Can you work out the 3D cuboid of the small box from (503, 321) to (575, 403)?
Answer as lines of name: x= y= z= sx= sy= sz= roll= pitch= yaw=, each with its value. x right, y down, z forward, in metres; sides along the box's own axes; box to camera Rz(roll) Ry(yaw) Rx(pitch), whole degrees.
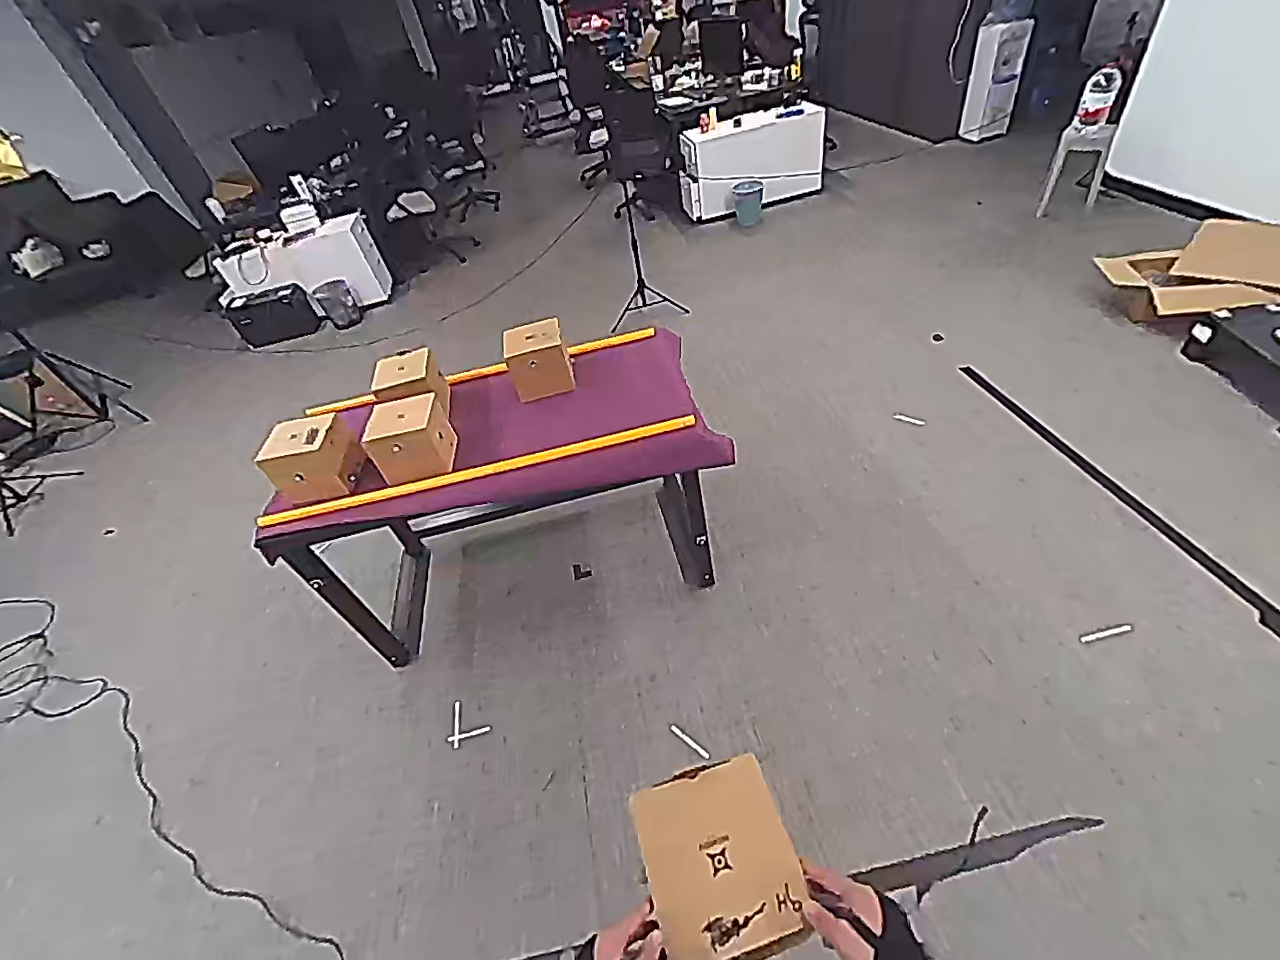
small box: x=-0.313 y=-0.362 z=1.678 sx=0.179 sy=0.176 sz=0.168 roll=-14 pitch=45 yaw=0

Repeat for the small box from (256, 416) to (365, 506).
small box: x=-0.900 y=-0.050 z=1.499 sx=0.179 sy=0.176 sz=0.168 roll=-11 pitch=43 yaw=2

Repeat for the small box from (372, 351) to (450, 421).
small box: x=-0.704 y=-0.272 z=1.684 sx=0.168 sy=0.176 sz=0.179 roll=-16 pitch=44 yaw=-2

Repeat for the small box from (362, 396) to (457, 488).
small box: x=-0.623 y=-0.103 z=1.490 sx=0.179 sy=0.176 sz=0.168 roll=-13 pitch=43 yaw=1

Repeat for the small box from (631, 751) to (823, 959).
small box: x=0.095 y=0.469 z=0.653 sx=0.168 sy=0.176 sz=0.179 roll=-16 pitch=43 yaw=-7
